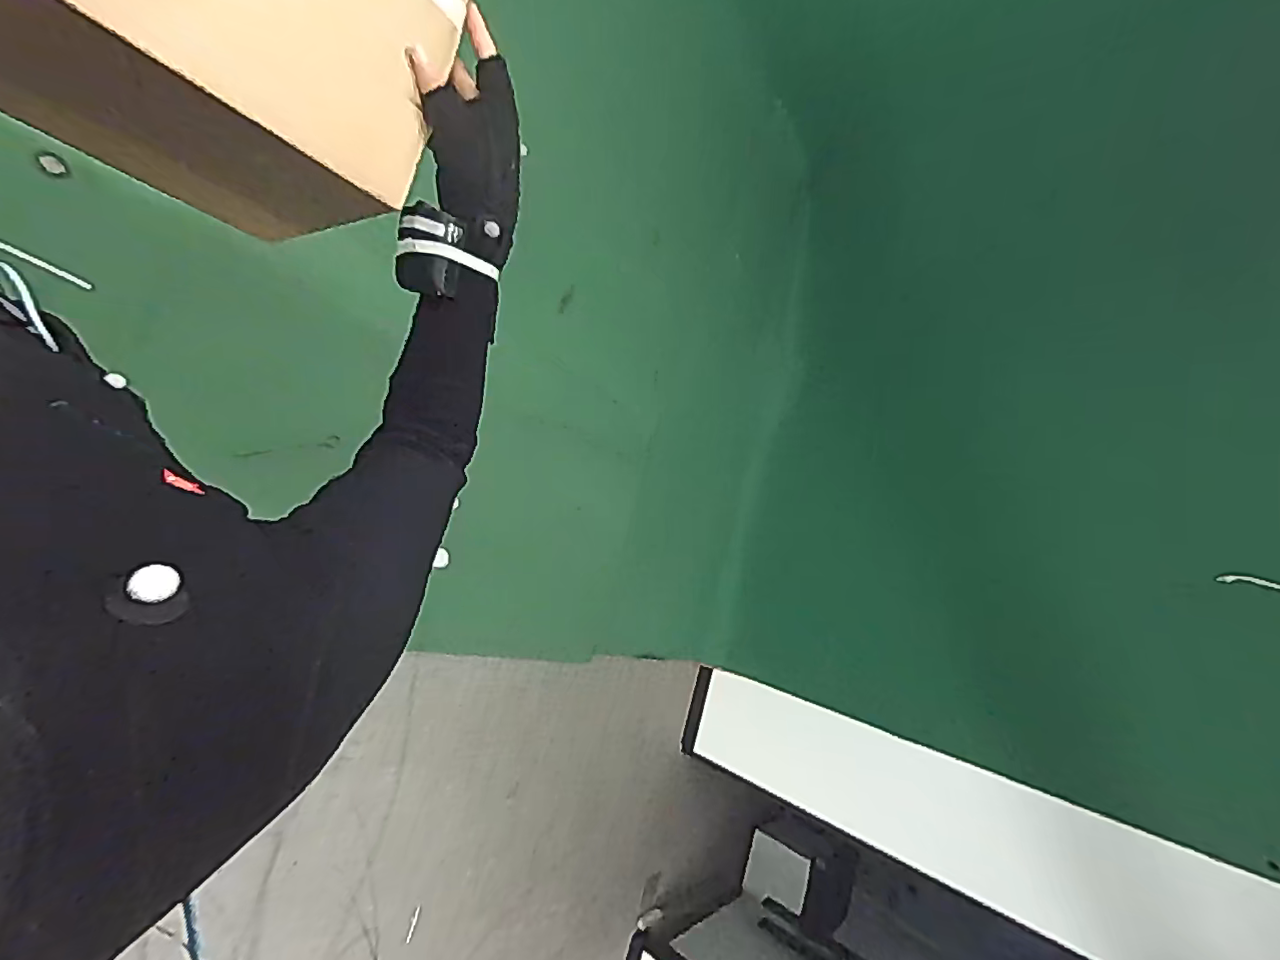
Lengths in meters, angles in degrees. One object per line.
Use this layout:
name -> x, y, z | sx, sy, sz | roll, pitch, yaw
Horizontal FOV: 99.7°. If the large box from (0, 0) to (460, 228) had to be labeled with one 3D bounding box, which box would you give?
large box -> -0.375, -0.432, 0.362 | 0.408, 0.320, 0.320 | 19, 88, -51
